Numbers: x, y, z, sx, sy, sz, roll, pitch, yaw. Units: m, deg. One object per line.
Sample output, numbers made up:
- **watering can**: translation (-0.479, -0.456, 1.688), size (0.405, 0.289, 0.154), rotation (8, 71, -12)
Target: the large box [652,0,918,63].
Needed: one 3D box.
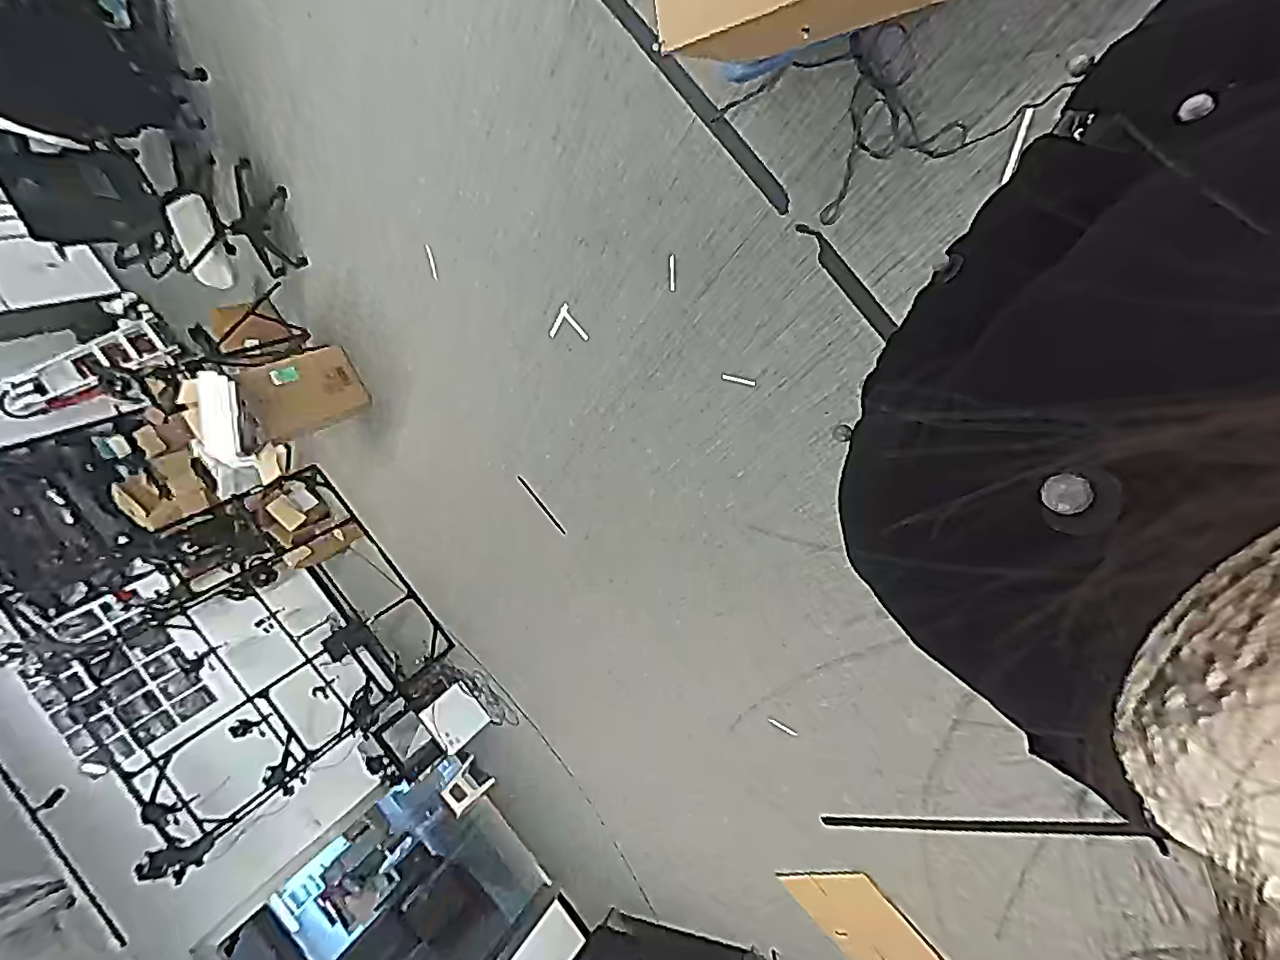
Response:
- **large box**: translation (0.255, -0.929, 0.876), size (0.408, 0.320, 0.320), rotation (12, 123, 37)
